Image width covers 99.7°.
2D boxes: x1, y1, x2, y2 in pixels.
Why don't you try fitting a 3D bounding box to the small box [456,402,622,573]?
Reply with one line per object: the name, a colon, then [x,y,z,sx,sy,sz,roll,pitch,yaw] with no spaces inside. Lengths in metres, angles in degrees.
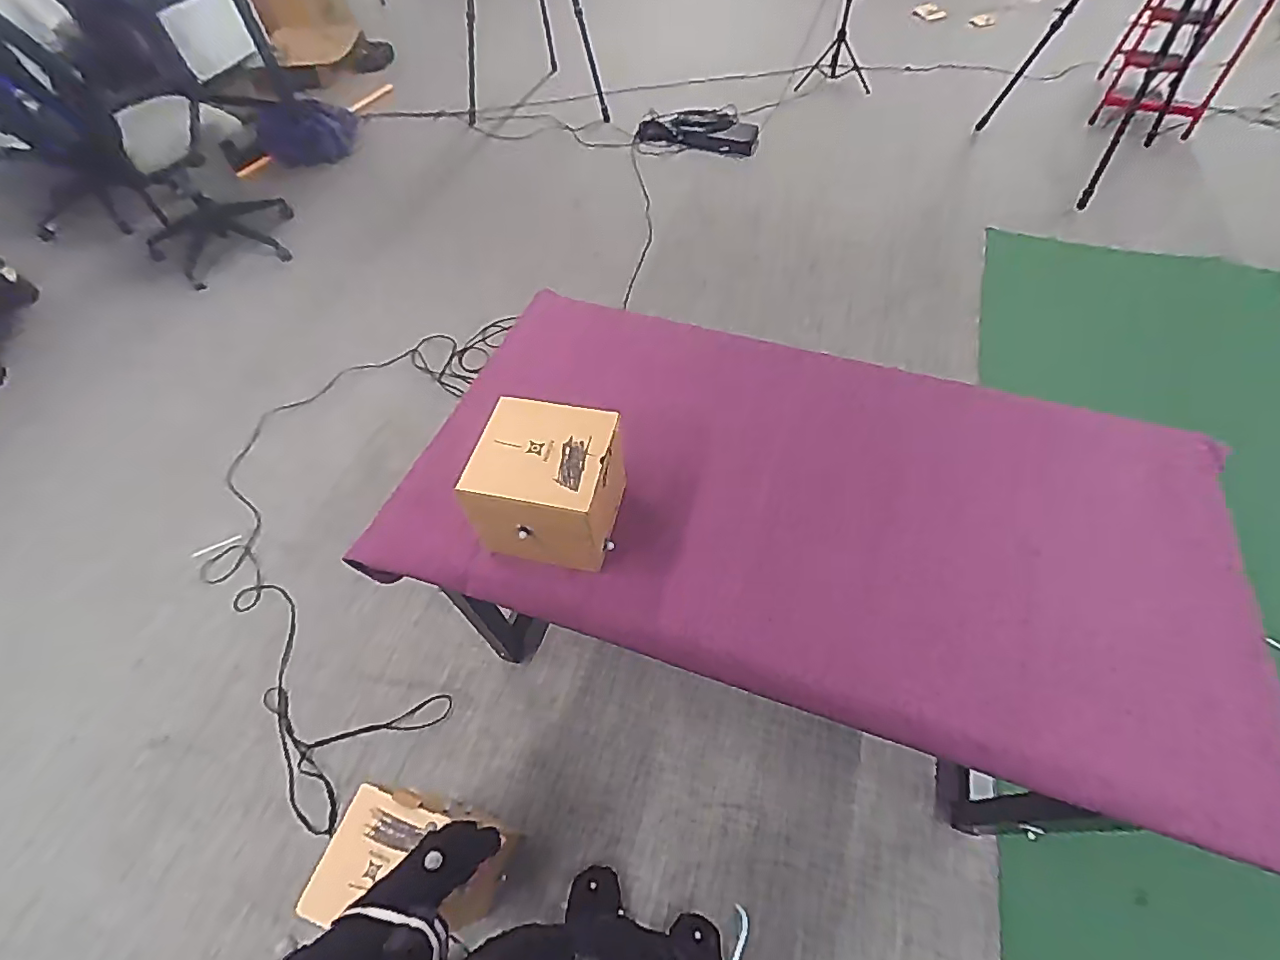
small box: [-0.128,0.016,0.774,0.179,0.176,0.168,10,55,8]
